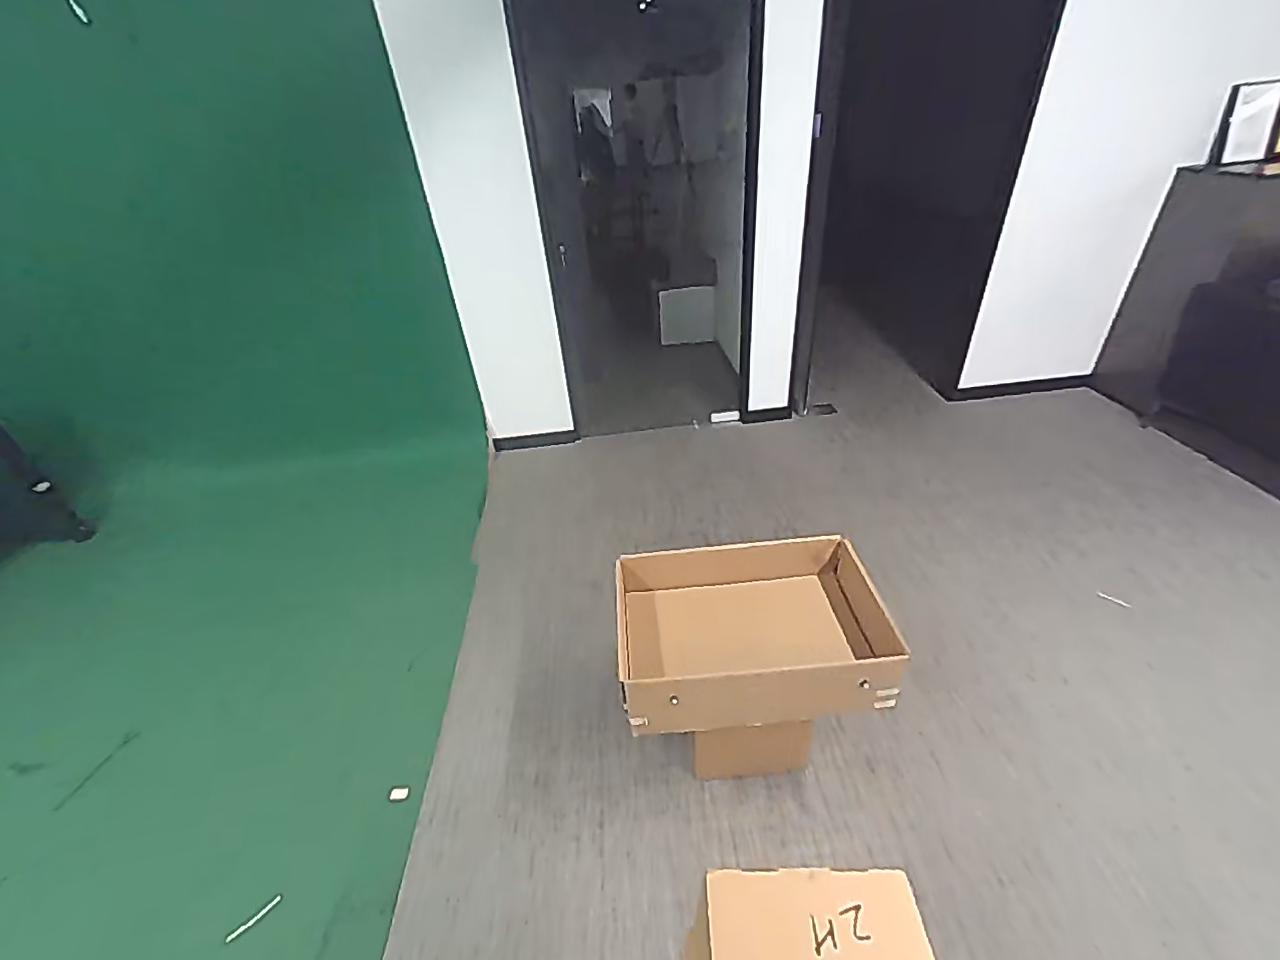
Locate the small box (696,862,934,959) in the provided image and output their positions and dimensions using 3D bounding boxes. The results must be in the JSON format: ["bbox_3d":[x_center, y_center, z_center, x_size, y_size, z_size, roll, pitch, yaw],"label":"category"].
[{"bbox_3d":[0.131,0.426,0.415,0.168,0.176,0.179,0,35,1],"label":"small box"}]

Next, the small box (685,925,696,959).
[{"bbox_3d":[0.133,0.556,0.517,0.179,0.176,0.168,0,36,1],"label":"small box"}]
